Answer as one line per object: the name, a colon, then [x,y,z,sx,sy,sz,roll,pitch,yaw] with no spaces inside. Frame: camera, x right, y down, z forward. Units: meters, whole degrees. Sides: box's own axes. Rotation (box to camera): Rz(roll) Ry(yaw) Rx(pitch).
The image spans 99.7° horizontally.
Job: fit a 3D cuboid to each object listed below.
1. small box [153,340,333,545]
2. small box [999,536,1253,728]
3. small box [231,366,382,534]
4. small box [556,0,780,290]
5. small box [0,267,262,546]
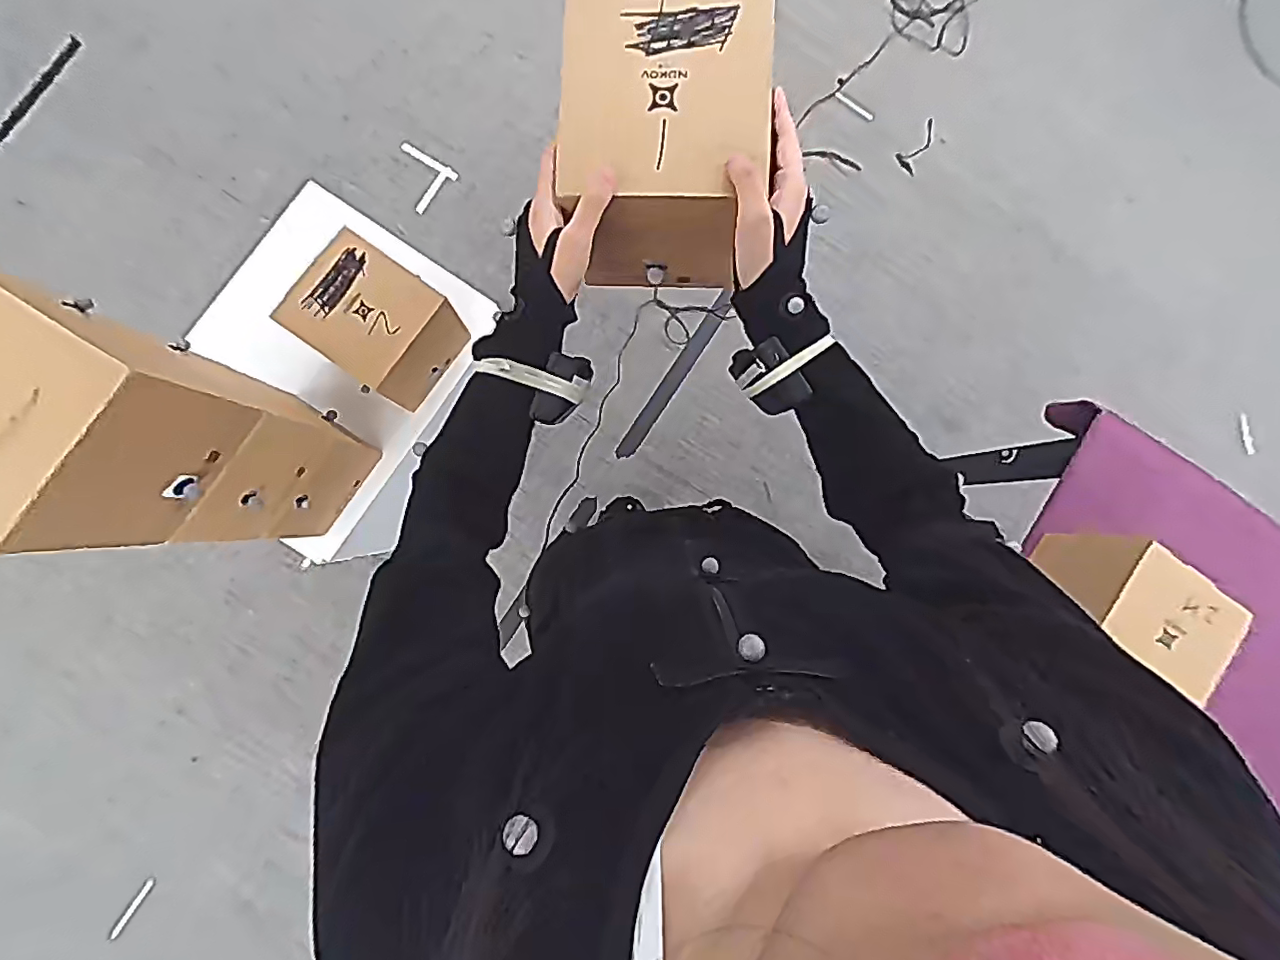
small box: [-0.506,-0.043,0.630,0.179,0.176,0.168,32,84,-2]
small box: [0.645,0.194,0.745,0.168,0.176,0.179,37,84,-2]
small box: [-0.523,-0.032,0.792,0.179,0.176,0.168,34,83,-1]
small box: [0.025,-0.294,0.491,0.168,0.176,0.179,2,87,3]
small box: [-0.492,-0.057,0.468,0.179,0.176,0.168,32,85,-3]
